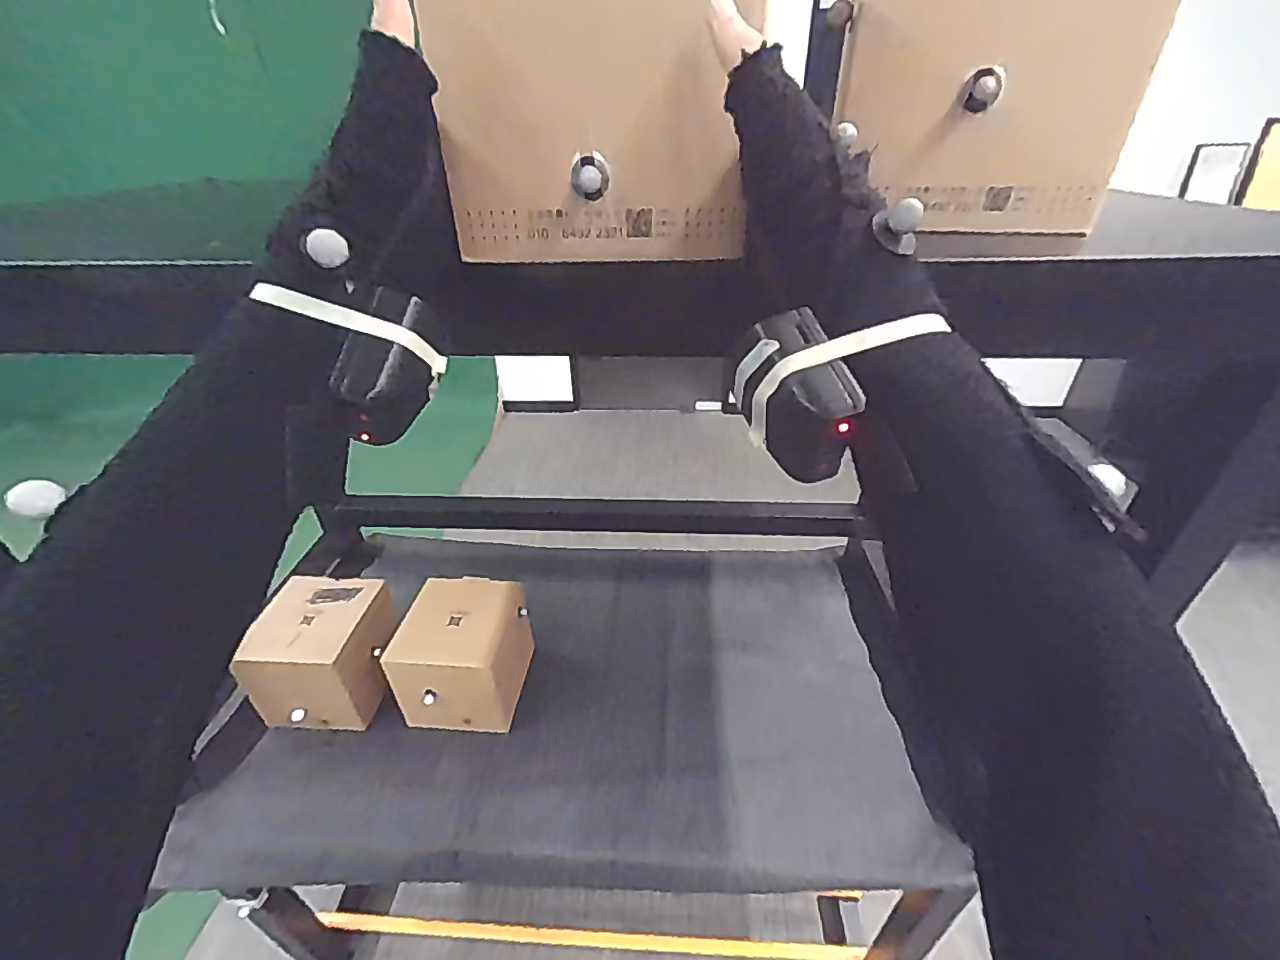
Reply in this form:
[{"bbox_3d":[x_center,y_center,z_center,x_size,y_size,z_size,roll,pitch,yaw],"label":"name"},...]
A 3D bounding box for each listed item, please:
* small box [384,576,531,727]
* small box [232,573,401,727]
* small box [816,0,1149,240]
[{"bbox_3d":[-0.286,0.281,0.893,0.168,0.176,0.179,2,33,4],"label":"small box"},{"bbox_3d":[-0.513,0.278,0.897,0.168,0.176,0.179,1,34,3],"label":"small box"},{"bbox_3d":[0.230,-0.282,0.404,0.168,0.176,0.179,7,34,13],"label":"small box"}]
